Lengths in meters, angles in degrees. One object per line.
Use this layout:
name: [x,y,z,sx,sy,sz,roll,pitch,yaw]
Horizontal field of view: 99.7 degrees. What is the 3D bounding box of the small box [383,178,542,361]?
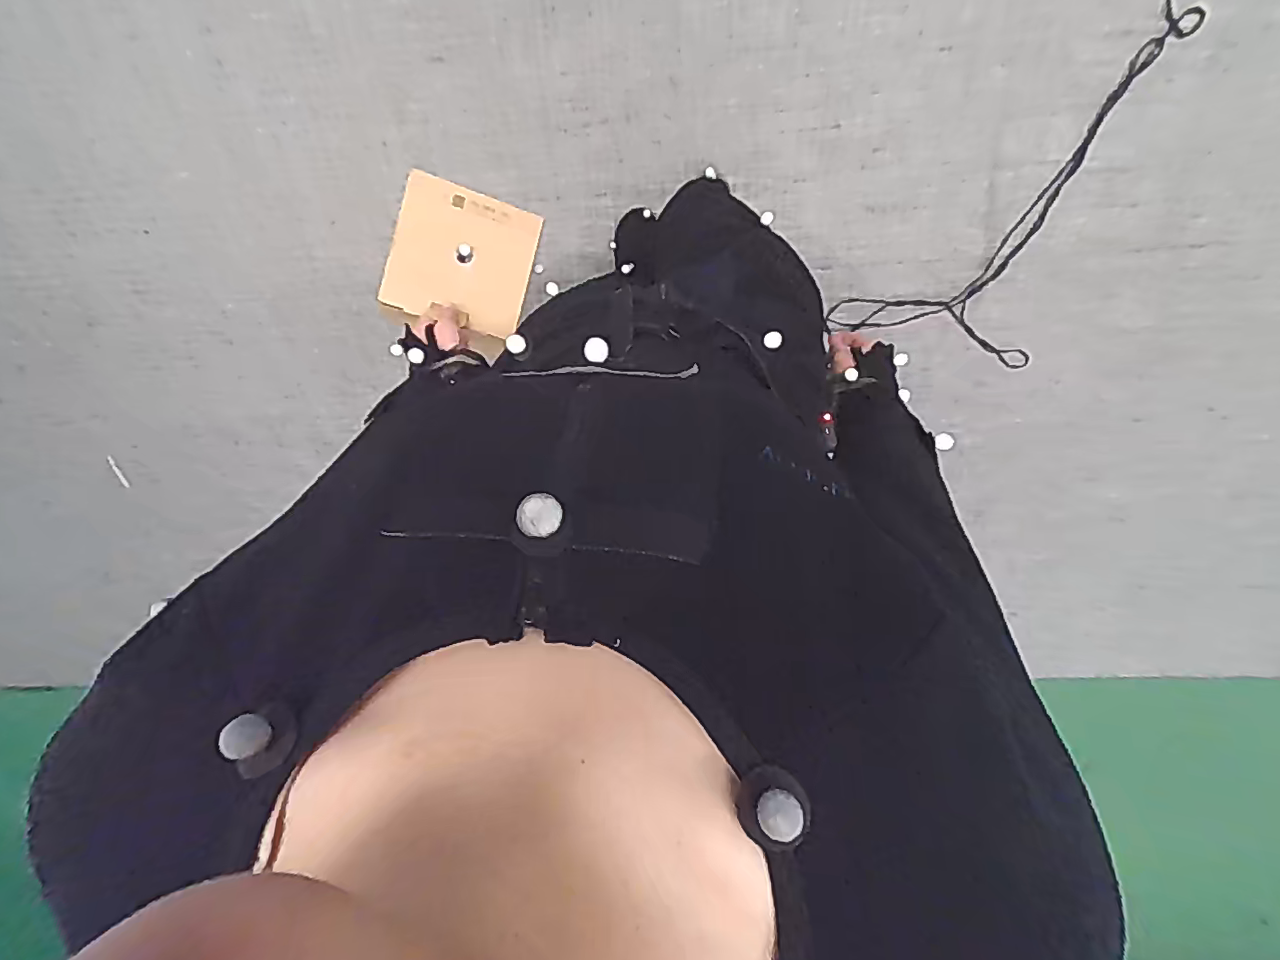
small box: [-0.240,-0.280,0.752,0.168,0.179,0.176,14,90,-17]
